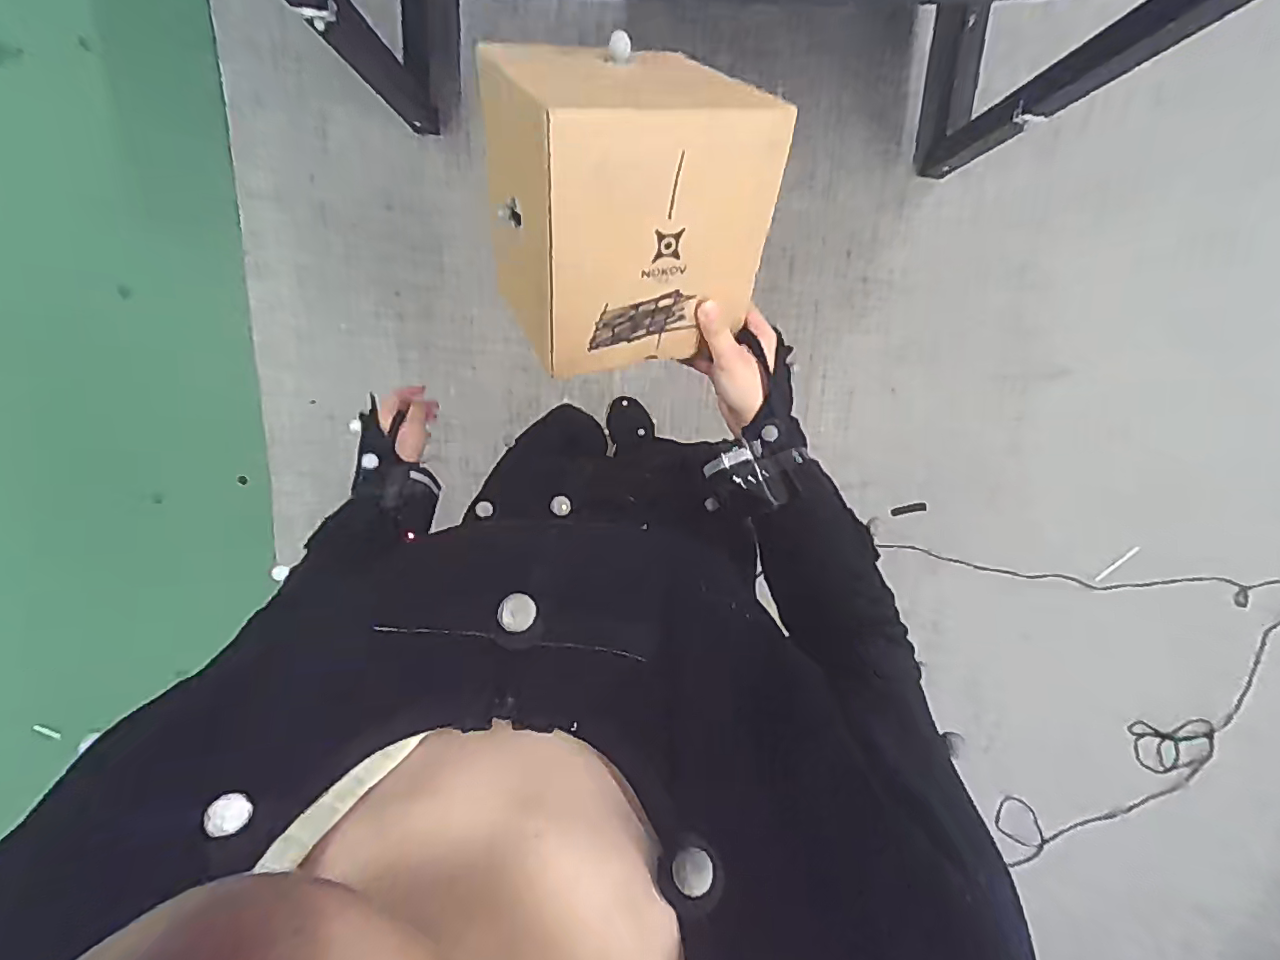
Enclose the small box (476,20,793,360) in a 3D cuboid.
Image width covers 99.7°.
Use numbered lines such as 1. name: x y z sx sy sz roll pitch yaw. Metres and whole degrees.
1. small box: -0.020 -0.220 0.415 0.168 0.176 0.179 -14 140 -21
